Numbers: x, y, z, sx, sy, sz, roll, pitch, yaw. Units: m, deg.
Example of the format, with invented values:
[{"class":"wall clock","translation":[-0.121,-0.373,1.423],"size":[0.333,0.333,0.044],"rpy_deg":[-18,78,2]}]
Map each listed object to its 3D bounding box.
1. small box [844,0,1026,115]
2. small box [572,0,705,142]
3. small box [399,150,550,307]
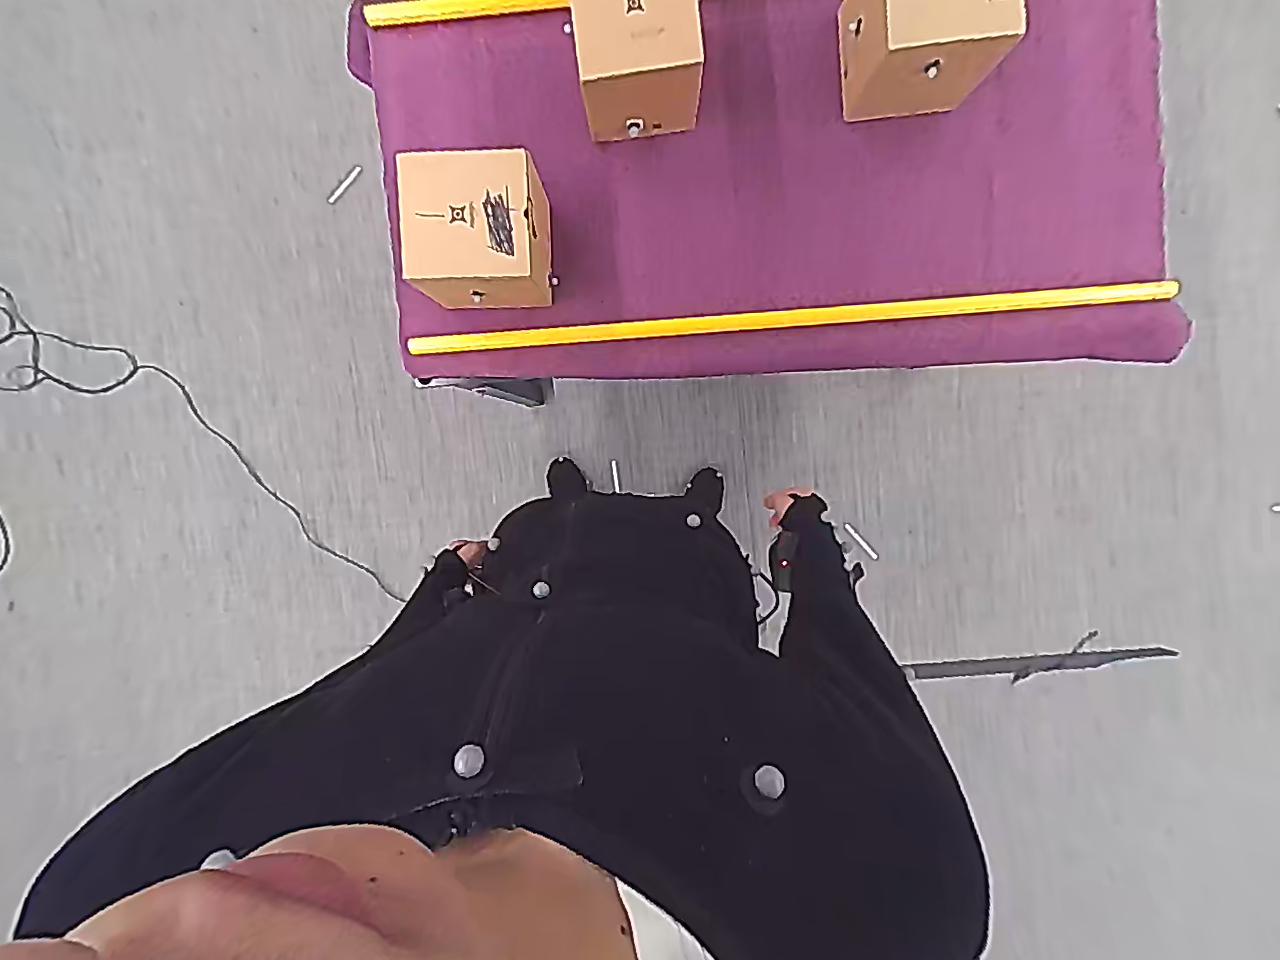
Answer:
[{"class":"small box","translation":[0.396,-0.645,0.757],"size":[0.179,0.176,0.168],"rpy_deg":[-5,96,2]},{"class":"small box","translation":[-0.005,-0.623,0.770],"size":[0.168,0.176,0.179],"rpy_deg":[-7,95,3]},{"class":"small box","translation":[-0.229,-0.356,0.793],"size":[0.179,0.176,0.168],"rpy_deg":[-1,94,1]}]
